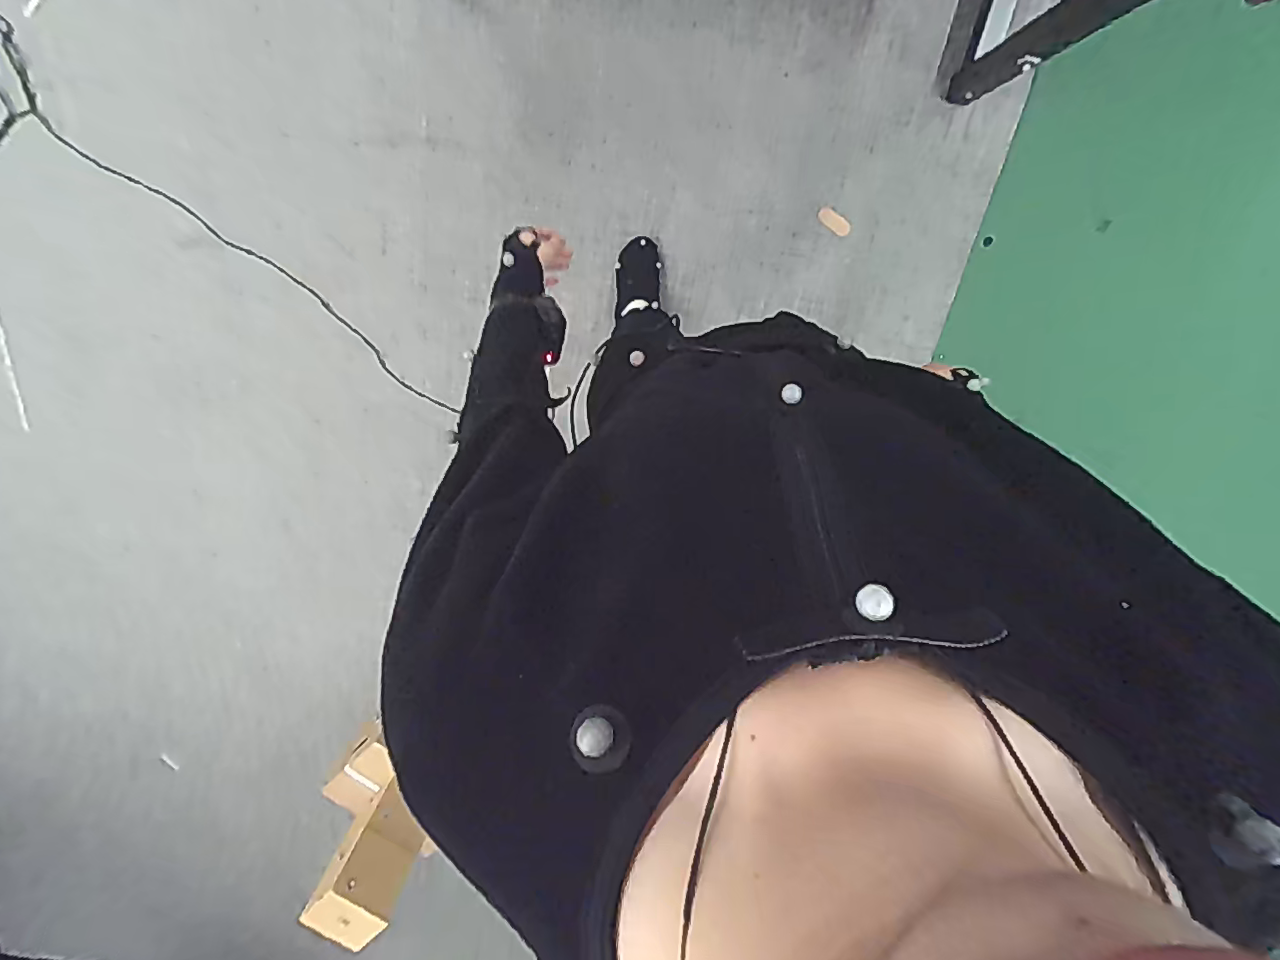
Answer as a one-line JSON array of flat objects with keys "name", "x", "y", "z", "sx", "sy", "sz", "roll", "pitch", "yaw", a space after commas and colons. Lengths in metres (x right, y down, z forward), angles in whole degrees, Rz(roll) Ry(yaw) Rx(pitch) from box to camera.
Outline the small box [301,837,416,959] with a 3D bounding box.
[{"name": "small box", "x": -0.725, "y": 1.087, "z": 1.415, "sx": 0.179, "sy": 0.176, "sz": 0.168, "roll": 41, "pitch": 107, "yaw": -10}]

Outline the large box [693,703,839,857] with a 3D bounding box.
[{"name": "large box", "x": 0.386, "y": 0.952, "z": 1.737, "sx": 0.408, "sy": 0.320, "sz": 0.320, "roll": -4, "pitch": 111, "yaw": 3}]
